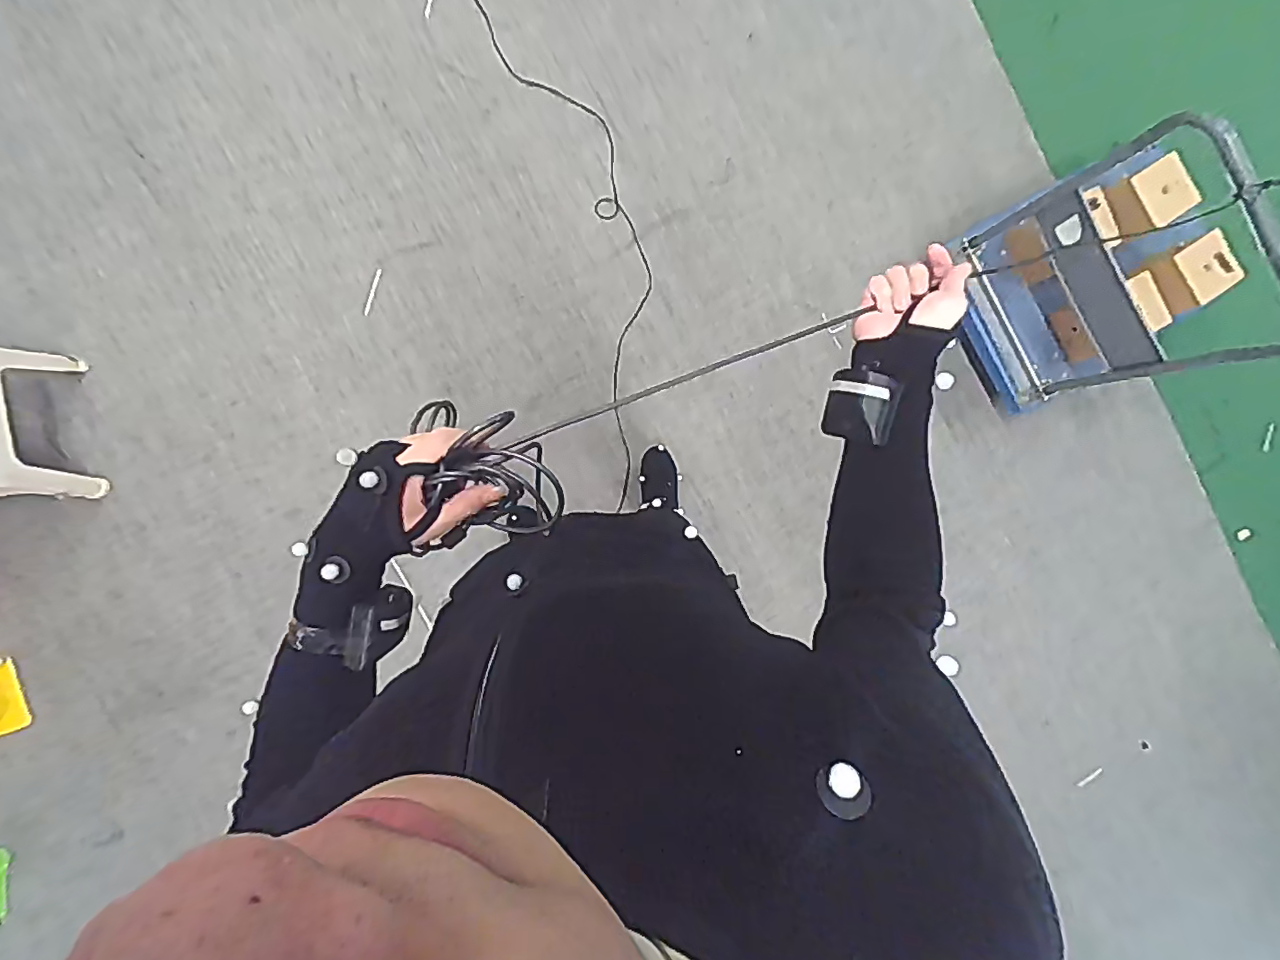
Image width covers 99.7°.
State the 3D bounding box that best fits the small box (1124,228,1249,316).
[{"bbox_3d":[1.601,-0.598,1.595,0.179,0.176,0.168,-33,92,-6],"label":"small box"}]

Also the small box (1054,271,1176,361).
[{"bbox_3d":[1.366,-0.468,1.565,0.179,0.176,0.168,-28,92,-6],"label":"small box"}]

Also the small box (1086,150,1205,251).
[{"bbox_3d":[1.464,-0.809,1.584,0.179,0.176,0.168,-33,93,-7],"label":"small box"}]
